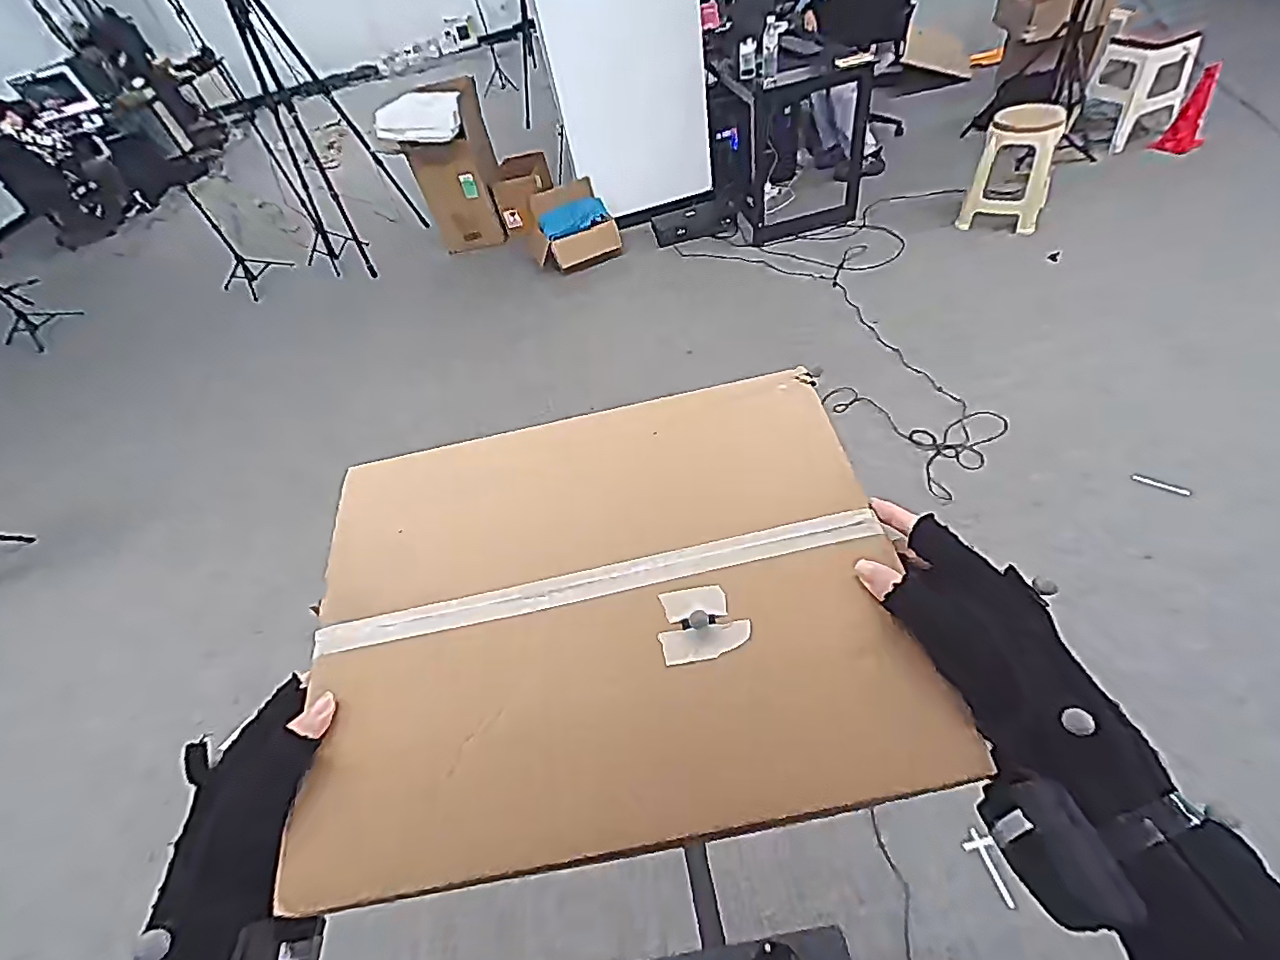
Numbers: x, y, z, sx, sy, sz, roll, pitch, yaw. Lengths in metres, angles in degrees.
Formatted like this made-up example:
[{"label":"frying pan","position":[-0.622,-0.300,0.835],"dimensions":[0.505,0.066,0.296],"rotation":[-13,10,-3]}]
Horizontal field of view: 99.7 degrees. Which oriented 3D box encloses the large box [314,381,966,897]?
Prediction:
[{"label":"large box","position":[-0.008,0.159,0.521],"dimensions":[0.408,0.320,0.320],"rotation":[-12,56,1]}]
